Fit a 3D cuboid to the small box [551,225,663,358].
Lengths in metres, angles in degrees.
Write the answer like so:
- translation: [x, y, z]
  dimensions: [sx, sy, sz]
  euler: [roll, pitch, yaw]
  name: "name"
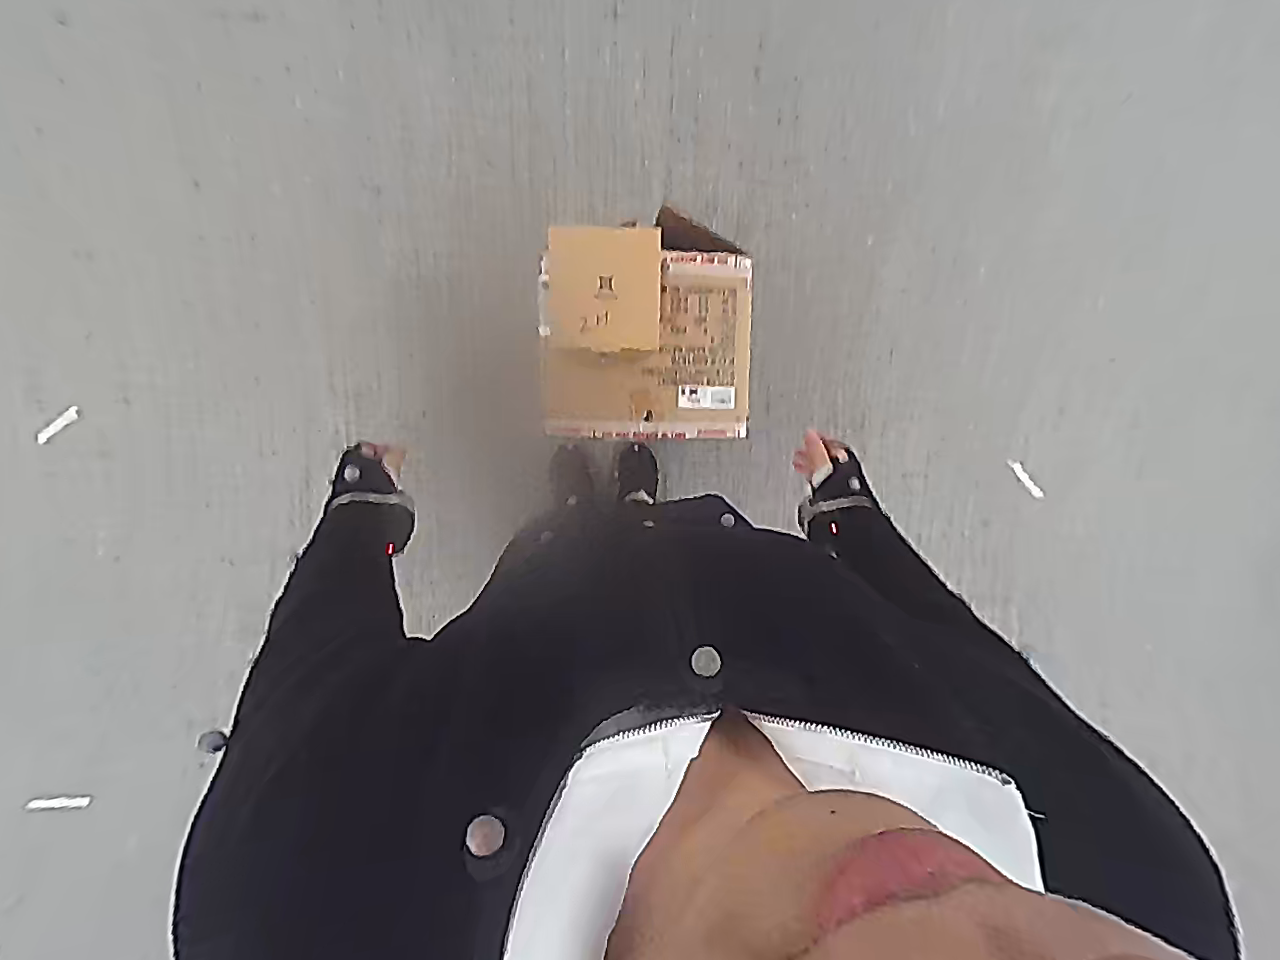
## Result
- translation: [-0.055, -0.293, 0.875]
  dimensions: [0.168, 0.176, 0.179]
  euler: [0, 100, -4]
  name: "small box"
